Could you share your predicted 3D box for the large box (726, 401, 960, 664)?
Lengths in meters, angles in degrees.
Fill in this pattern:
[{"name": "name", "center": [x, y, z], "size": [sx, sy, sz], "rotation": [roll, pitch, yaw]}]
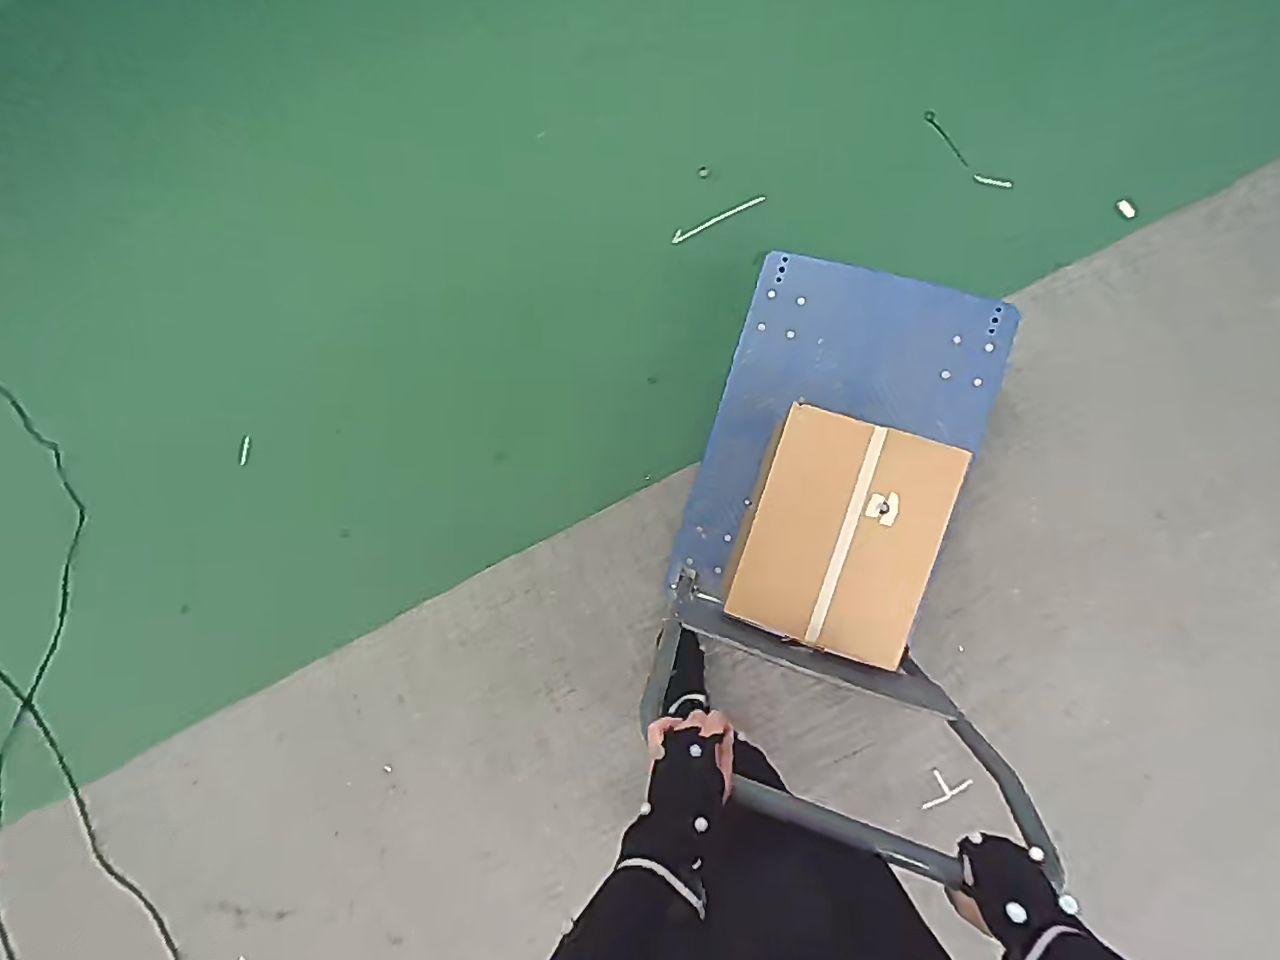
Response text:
[{"name": "large box", "center": [0.376, 0.094, 1.102], "size": [0.320, 0.320, 0.408], "rotation": [18, 91, 8]}]
